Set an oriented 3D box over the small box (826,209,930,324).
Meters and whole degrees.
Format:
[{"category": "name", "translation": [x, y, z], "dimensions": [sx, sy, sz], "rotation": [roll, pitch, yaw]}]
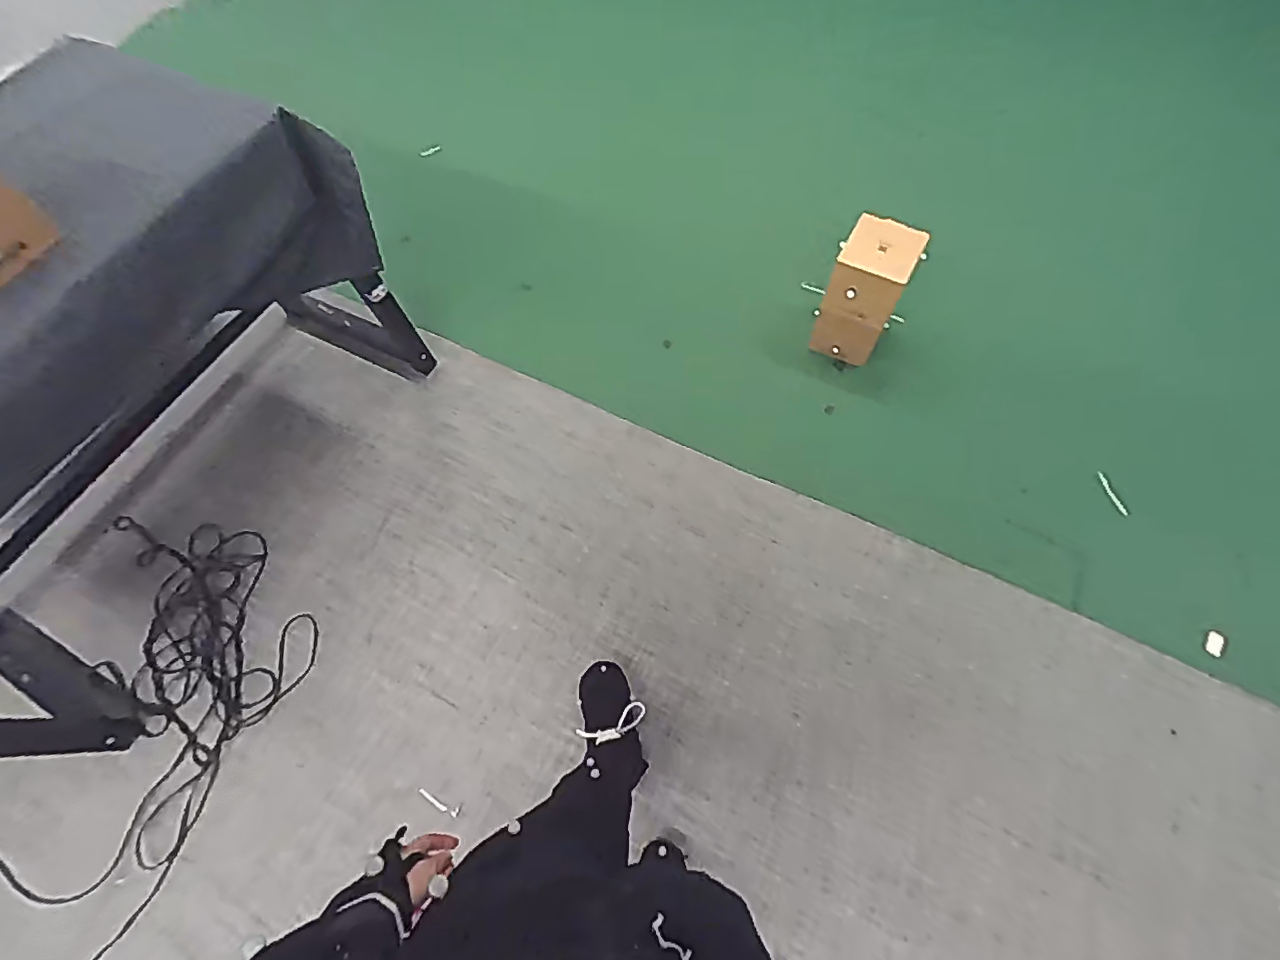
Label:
[{"category": "small box", "translation": [0.575, -0.519, 1.331], "dimensions": [0.168, 0.176, 0.179], "rotation": [27, 70, 15]}]
